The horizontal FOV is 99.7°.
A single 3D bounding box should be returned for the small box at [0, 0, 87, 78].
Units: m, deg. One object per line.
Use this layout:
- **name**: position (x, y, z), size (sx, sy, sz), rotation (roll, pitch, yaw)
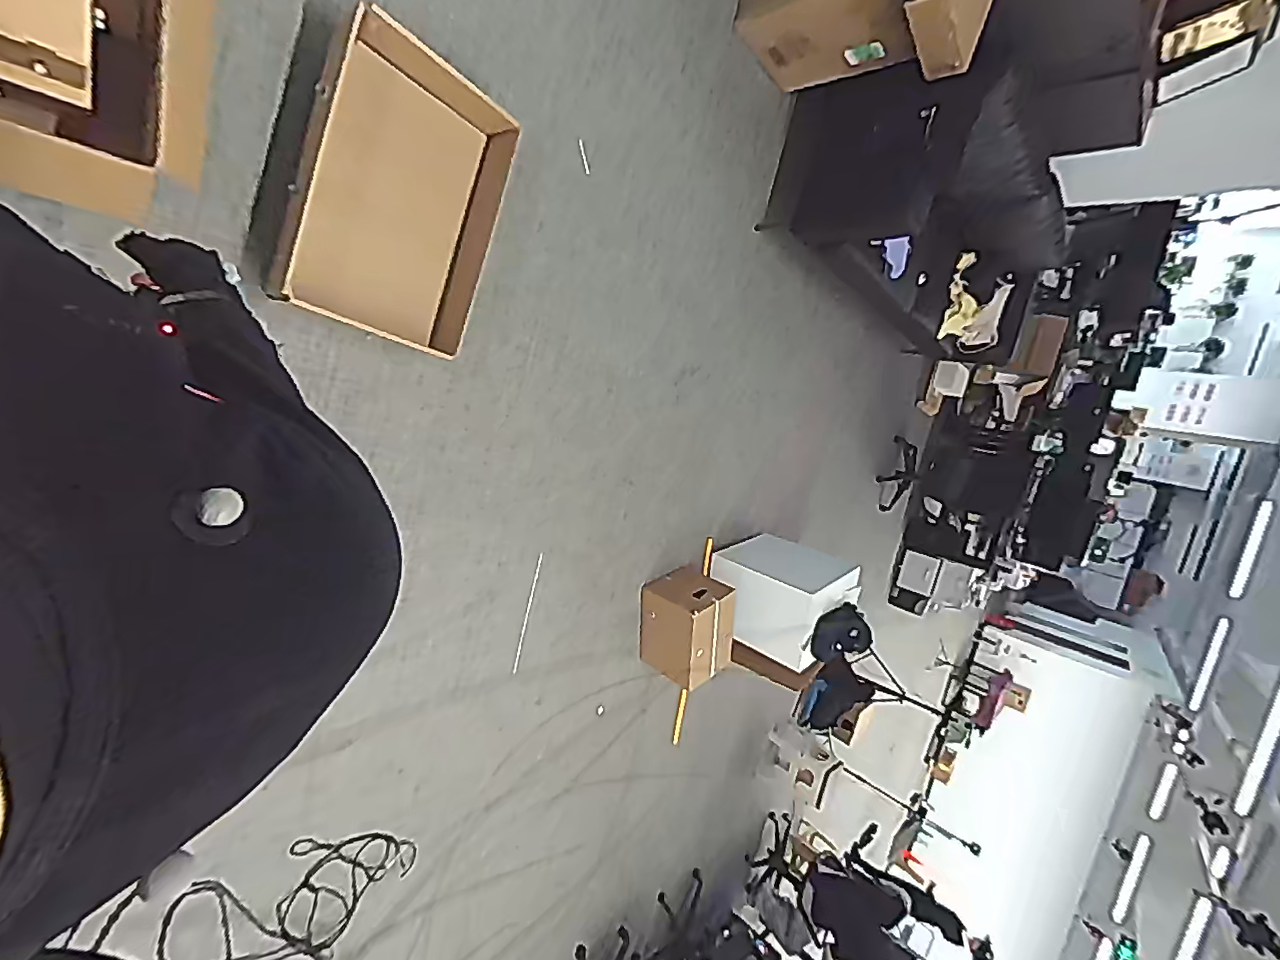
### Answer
- **small box**: position (-0.842, -0.670, 0.706), size (0.168, 0.176, 0.179), rotation (1, 105, -49)
